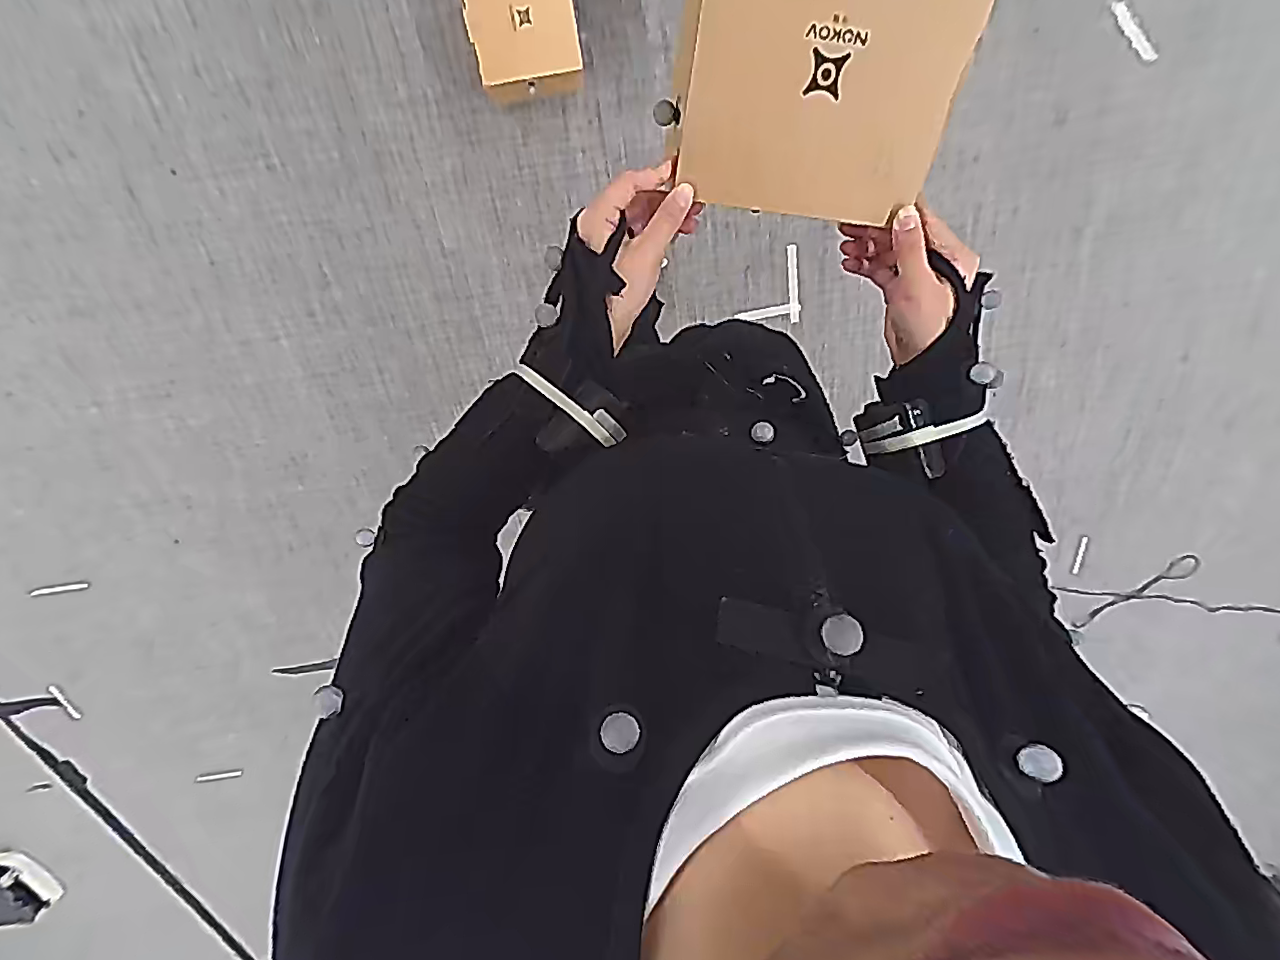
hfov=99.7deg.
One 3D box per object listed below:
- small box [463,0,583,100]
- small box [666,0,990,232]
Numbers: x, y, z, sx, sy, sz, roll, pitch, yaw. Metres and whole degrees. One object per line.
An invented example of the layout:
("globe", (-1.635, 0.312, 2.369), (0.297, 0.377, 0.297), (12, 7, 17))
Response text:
("small box", (-0.200, -0.789, 0.950), (0.179, 0.176, 0.168), (-10, 117, 0))
("small box", (0.113, -0.301, 0.388), (0.168, 0.176, 0.179), (5, 127, -5))
